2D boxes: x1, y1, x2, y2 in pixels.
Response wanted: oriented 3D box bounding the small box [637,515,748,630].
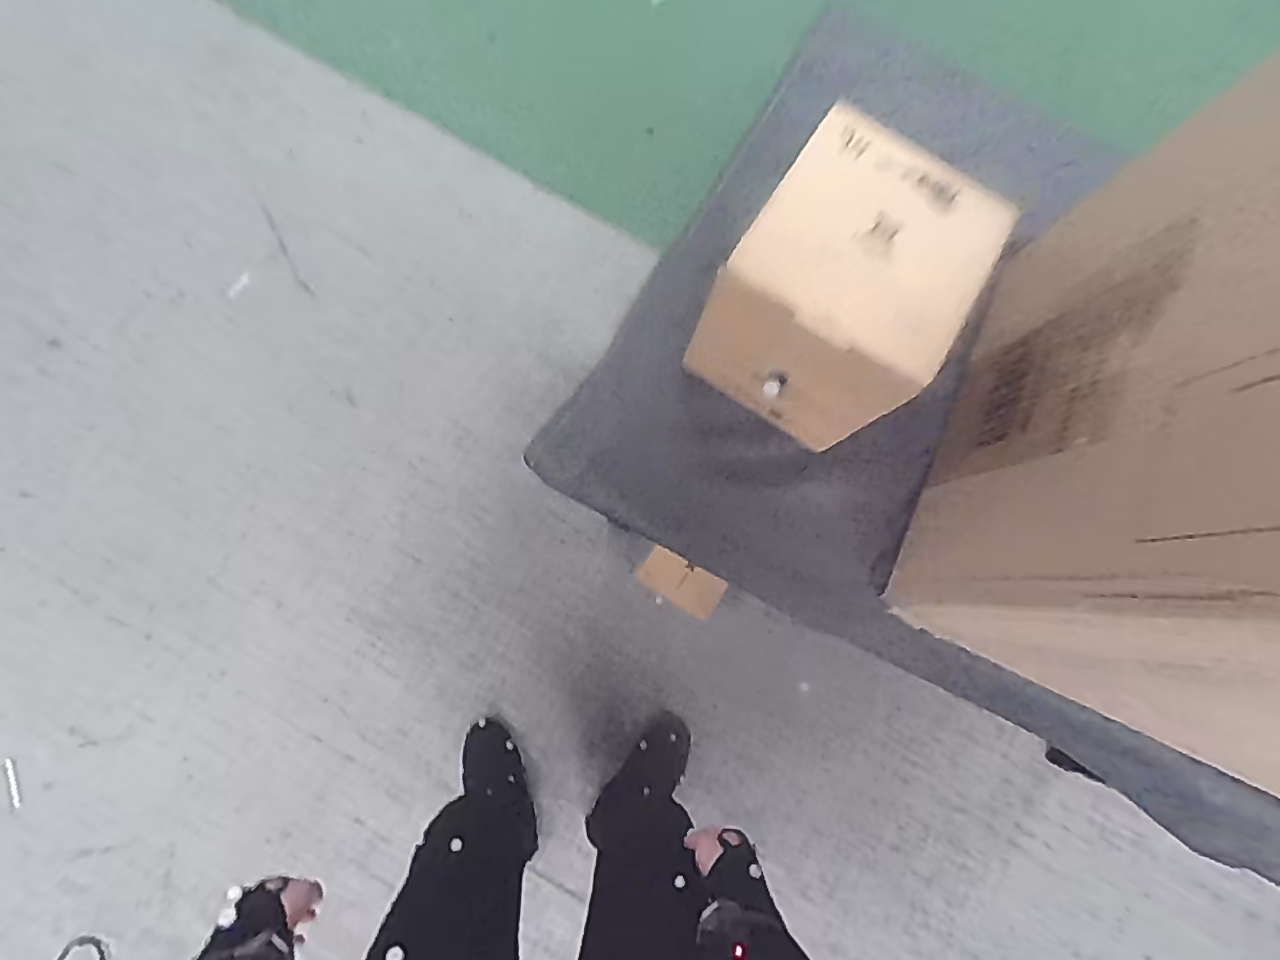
[{"bbox_3d":[0.102,0.197,1.161,0.168,0.176,0.179,32,79,3],"label":"small box"}]
